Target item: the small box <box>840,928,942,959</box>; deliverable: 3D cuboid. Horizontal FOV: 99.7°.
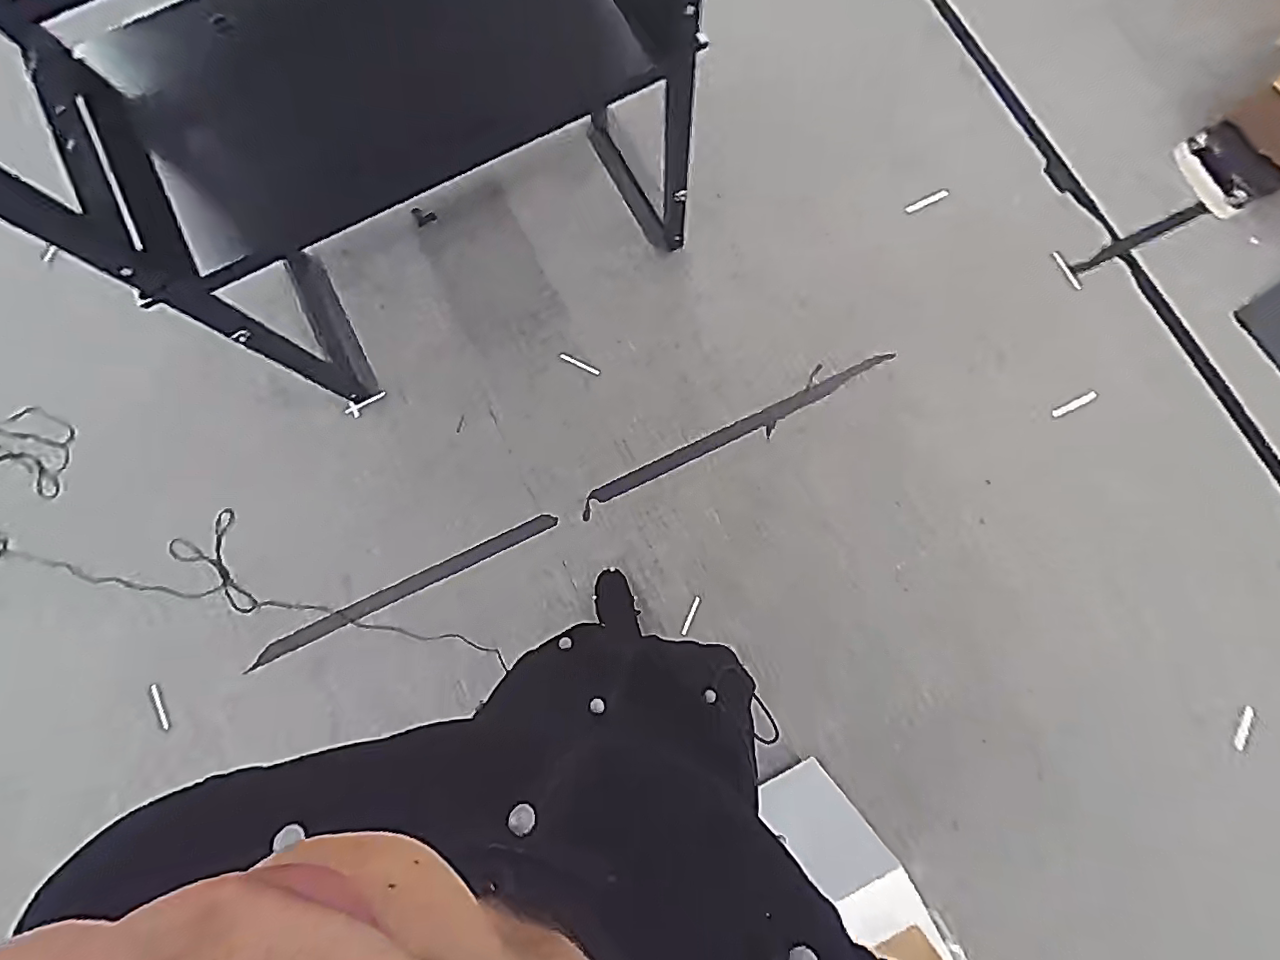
[{"bbox_3d":[0.447,0.879,0.869,0.168,0.176,0.179,-26,83,-2],"label":"small box"}]
